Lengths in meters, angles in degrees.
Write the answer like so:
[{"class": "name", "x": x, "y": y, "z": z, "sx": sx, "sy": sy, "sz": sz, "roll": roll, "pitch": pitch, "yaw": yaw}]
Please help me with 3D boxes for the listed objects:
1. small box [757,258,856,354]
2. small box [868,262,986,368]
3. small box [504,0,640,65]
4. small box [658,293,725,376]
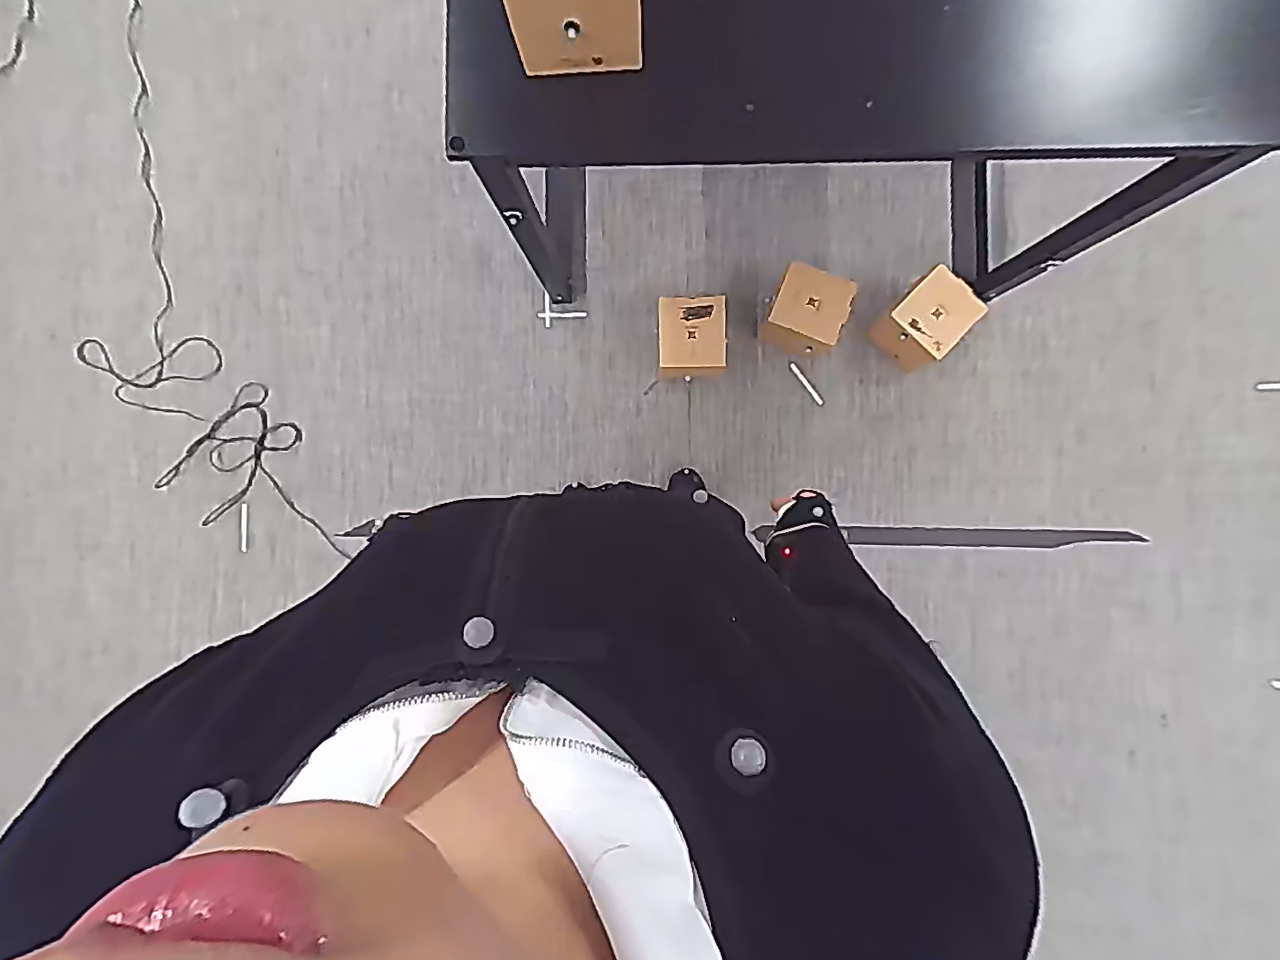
[{"class": "small box", "x": 0.423, "y": -0.440, "z": 1.404, "sx": 0.179, "sy": 0.176, "sz": 0.168, "roll": 21, "pitch": 91, "yaw": 2}, {"class": "small box", "x": 0.726, "y": -0.416, "z": 1.392, "sx": 0.168, "sy": 0.176, "sz": 0.179, "roll": 44, "pitch": 92, "yaw": 1}, {"class": "small box", "x": -0.085, "y": -0.665, "z": 0.683, "sx": 0.168, "sy": 0.176, "sz": 0.179, "roll": -2, "pitch": 90, "yaw": 1}, {"class": "small box", "x": 0.130, "y": -0.374, "z": 1.412, "sx": 0.168, "sy": 0.176, "sz": 0.179, "roll": -1, "pitch": 92, "yaw": 2}]
